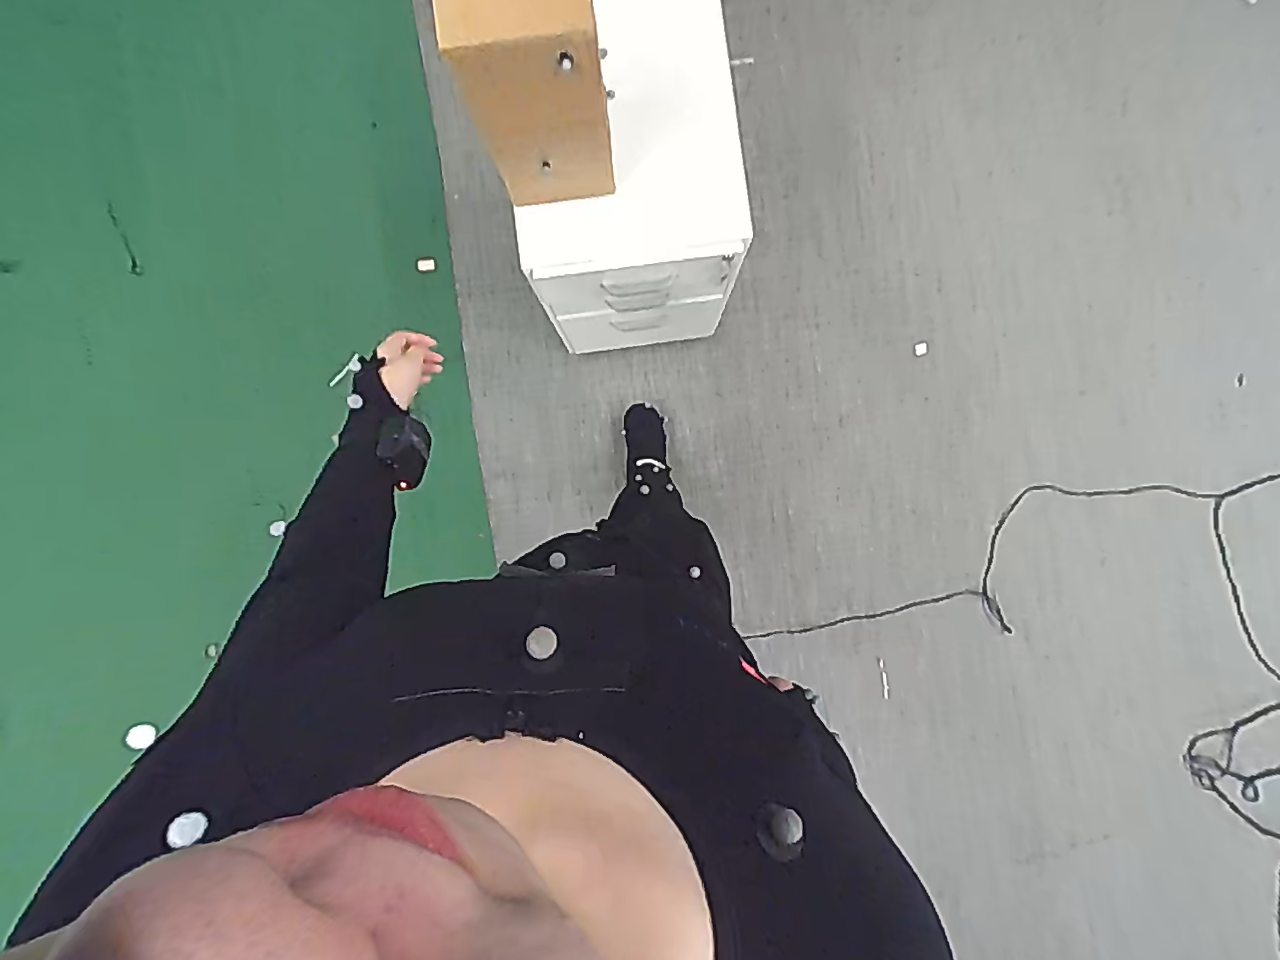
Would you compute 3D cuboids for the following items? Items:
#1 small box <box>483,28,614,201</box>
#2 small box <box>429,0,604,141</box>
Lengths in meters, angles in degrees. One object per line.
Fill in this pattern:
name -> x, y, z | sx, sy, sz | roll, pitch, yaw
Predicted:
small box -> -0.140, -0.554, 0.827 | 0.179, 0.176, 0.168 | -8, 89, 0
small box -> -0.145, -0.550, 0.664 | 0.179, 0.176, 0.168 | -8, 88, -1
